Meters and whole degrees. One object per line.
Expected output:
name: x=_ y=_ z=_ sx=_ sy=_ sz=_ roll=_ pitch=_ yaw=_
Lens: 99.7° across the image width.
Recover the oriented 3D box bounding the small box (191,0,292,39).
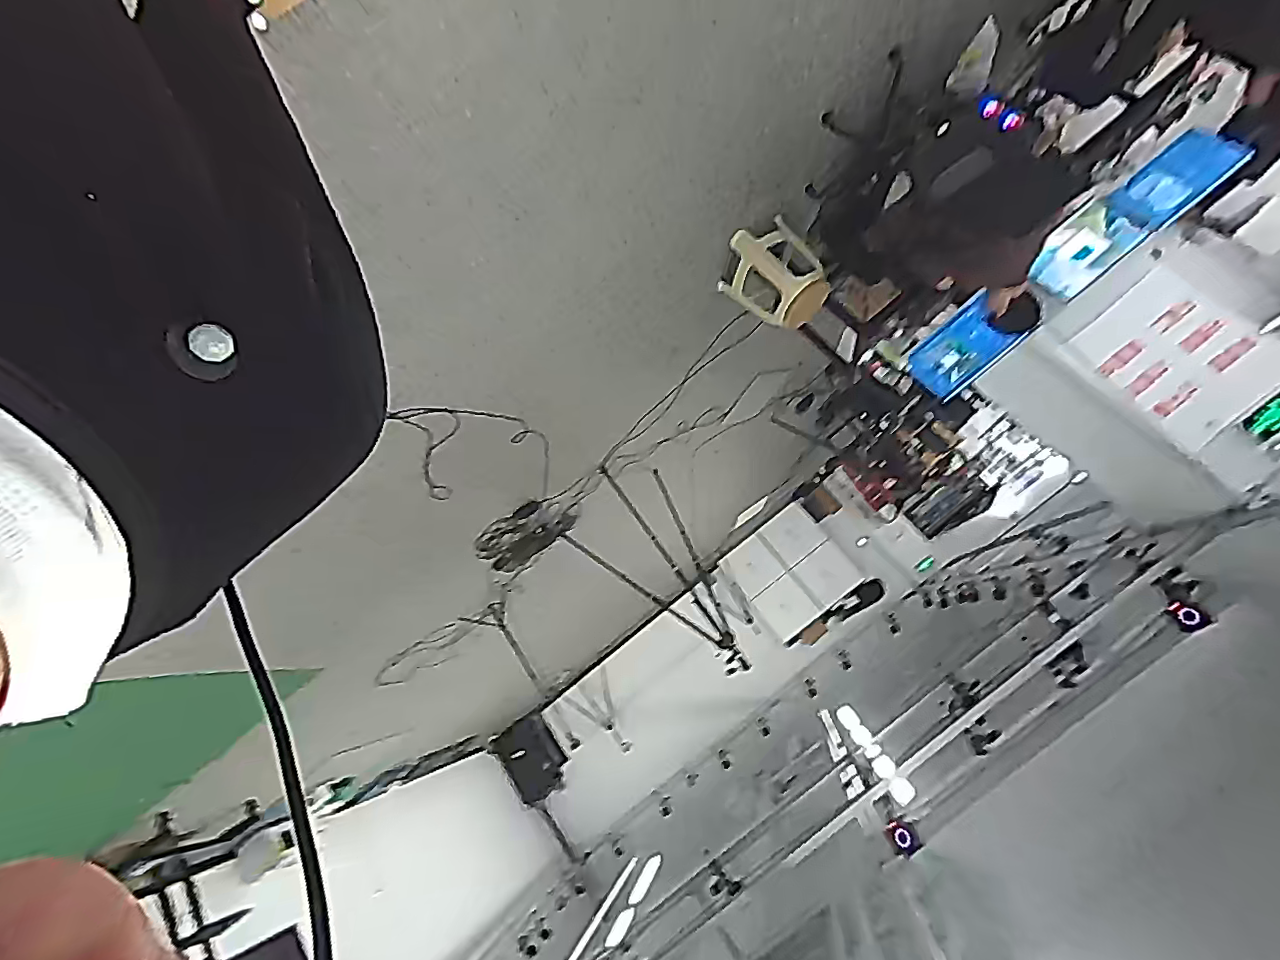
small box: x=-0.458 y=-0.637 z=0.581 sx=0.168 sy=0.176 sz=0.179 roll=20 pitch=78 yaw=-56
